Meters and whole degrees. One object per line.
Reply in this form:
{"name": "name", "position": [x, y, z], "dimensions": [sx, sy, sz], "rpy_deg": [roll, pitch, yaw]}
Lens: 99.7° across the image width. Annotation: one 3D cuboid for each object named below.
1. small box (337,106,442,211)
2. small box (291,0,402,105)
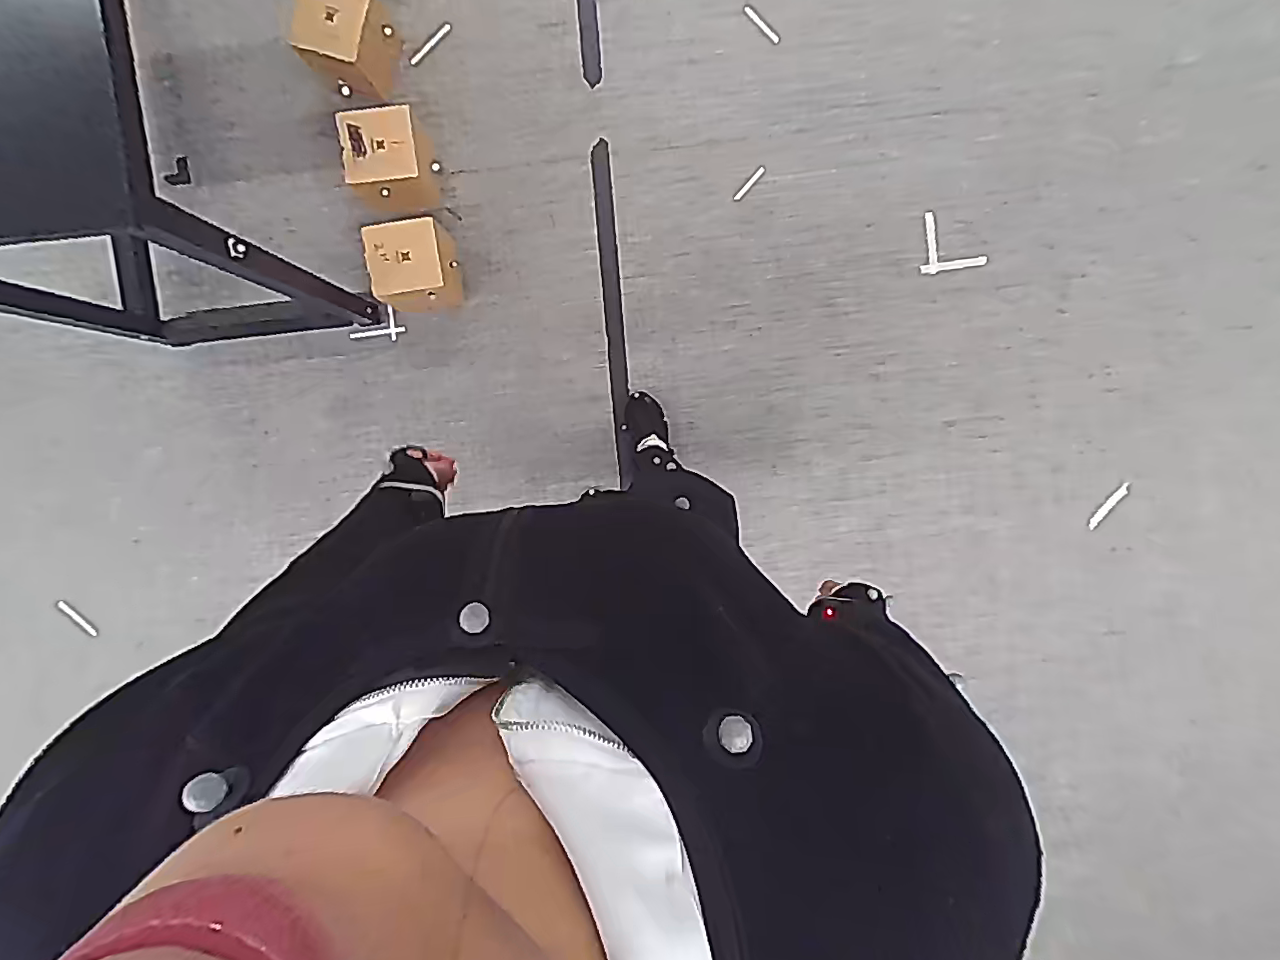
{"name": "small box", "position": [-0.618, -0.794, 1.353], "dimensions": [0.179, 0.176, 0.168], "rpy_deg": [-7, 95, 0]}
{"name": "small box", "position": [-0.712, -1.079, 1.331], "dimensions": [0.168, 0.176, 0.179], "rpy_deg": [15, 96, 0]}
